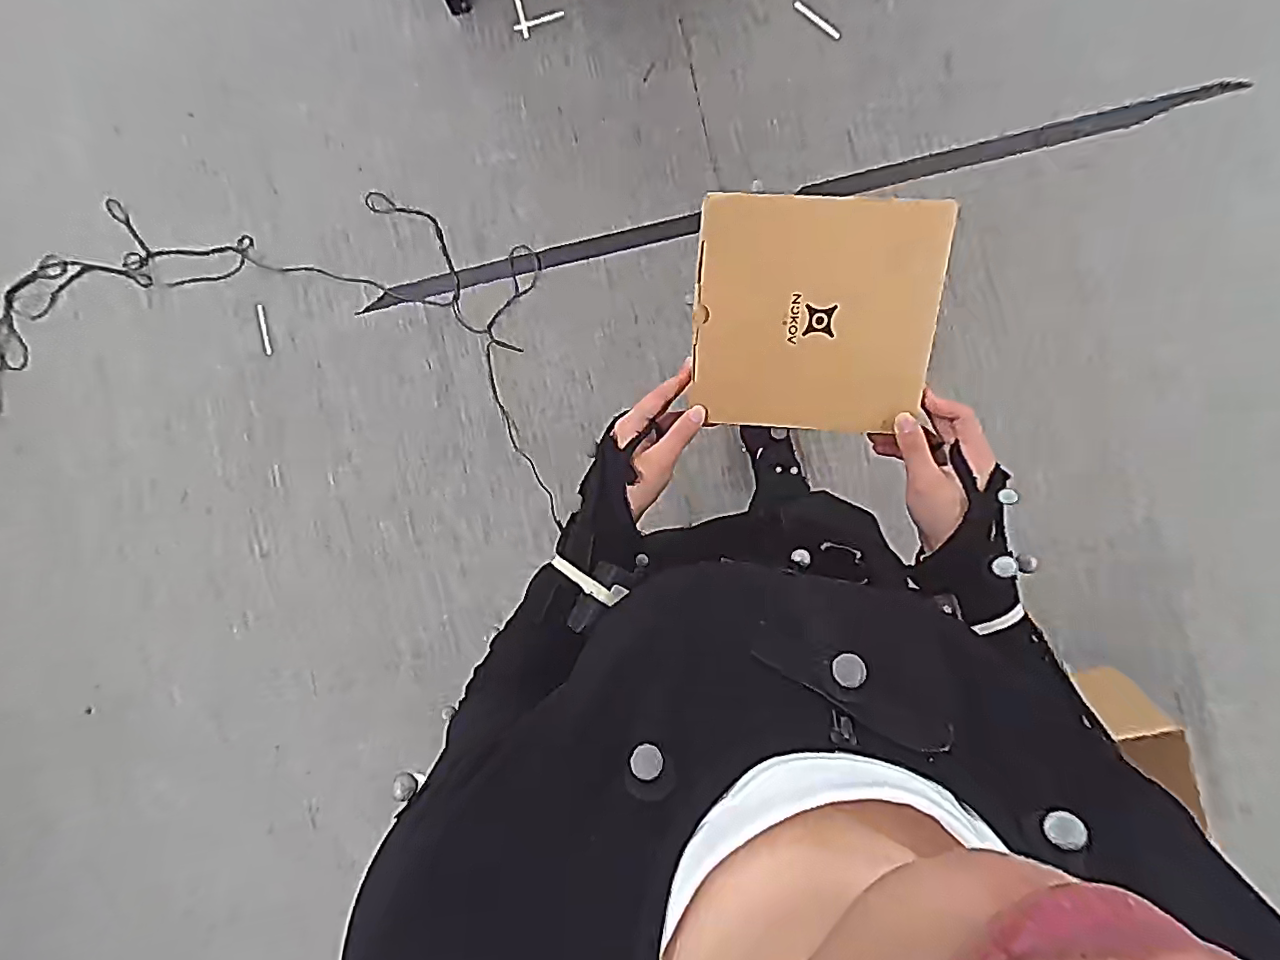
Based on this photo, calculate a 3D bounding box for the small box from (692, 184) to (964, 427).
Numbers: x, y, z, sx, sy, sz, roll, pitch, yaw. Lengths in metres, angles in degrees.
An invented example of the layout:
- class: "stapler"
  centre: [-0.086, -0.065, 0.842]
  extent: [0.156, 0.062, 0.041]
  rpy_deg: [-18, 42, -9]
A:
- class: "small box"
  centre: [0.138, -0.146, 0.469]
  extent: [0.179, 0.176, 0.168]
  rpy_deg: [3, 107, 5]
